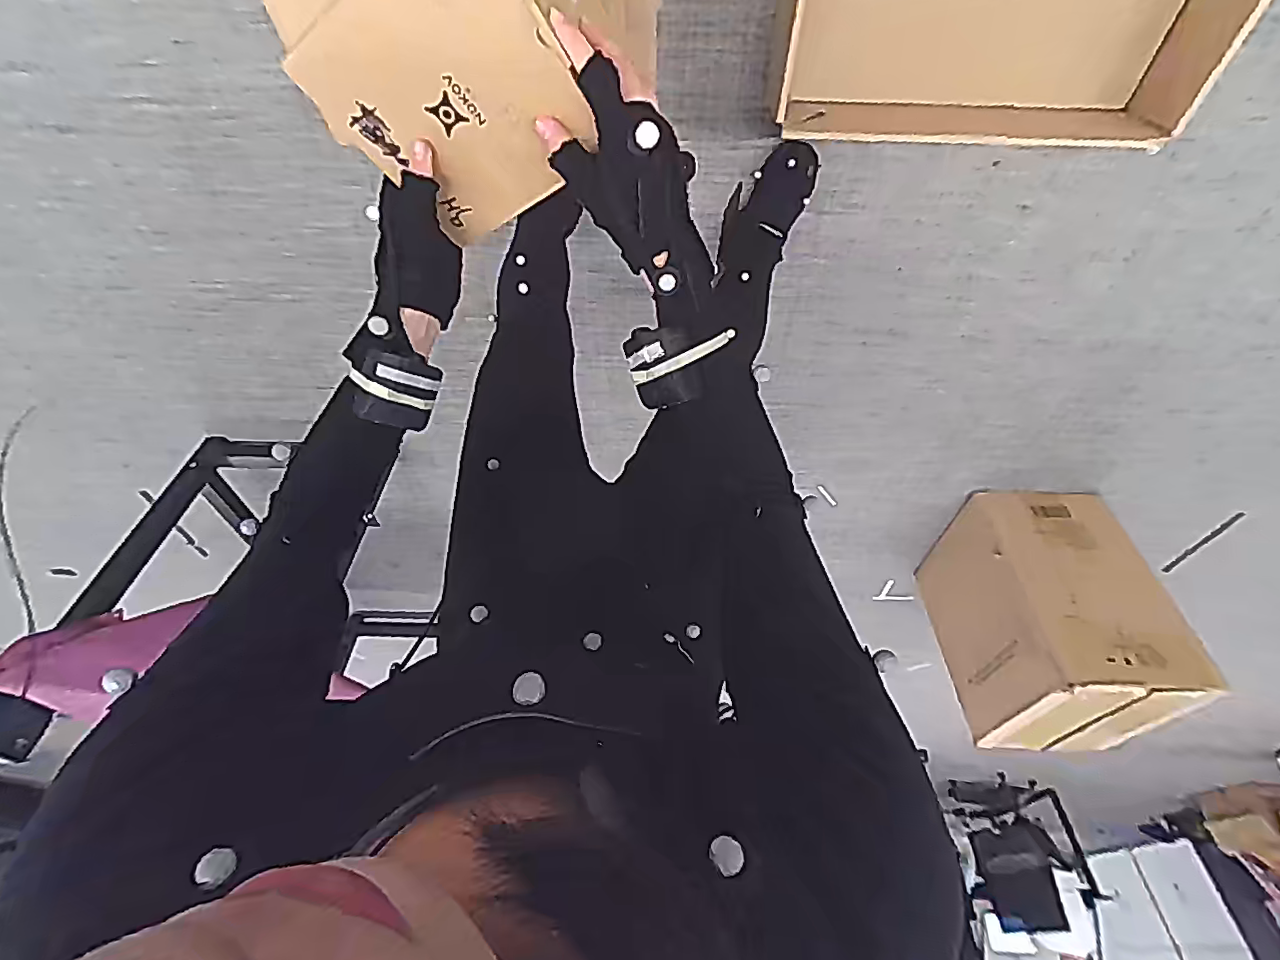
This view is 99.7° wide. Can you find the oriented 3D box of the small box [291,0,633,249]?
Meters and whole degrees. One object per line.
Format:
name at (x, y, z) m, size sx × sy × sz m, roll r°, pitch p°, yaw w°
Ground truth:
small box at (-0.118, -0.329, 0.421) m, size 0.179 × 0.176 × 0.168 m, roll -15°, pitch 143°, yaw 28°
